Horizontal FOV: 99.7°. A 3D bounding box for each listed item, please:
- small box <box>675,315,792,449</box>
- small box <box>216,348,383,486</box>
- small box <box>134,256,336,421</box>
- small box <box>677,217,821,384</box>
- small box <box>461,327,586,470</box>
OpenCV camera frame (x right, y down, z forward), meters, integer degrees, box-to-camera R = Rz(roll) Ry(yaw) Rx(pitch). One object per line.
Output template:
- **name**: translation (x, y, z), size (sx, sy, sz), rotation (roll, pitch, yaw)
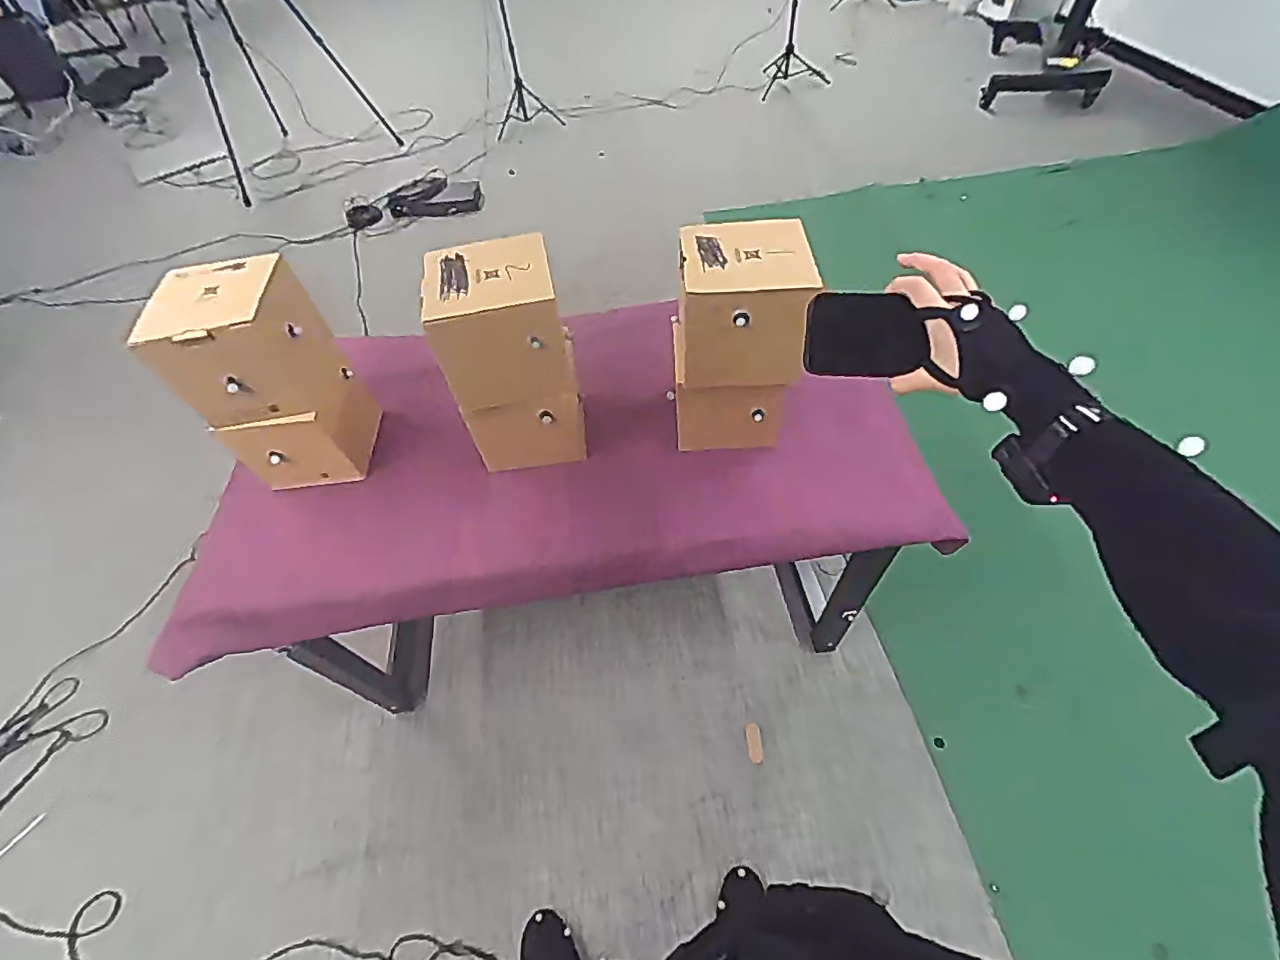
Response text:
- **small box**: translation (0.150, -0.168, 0.926), size (0.179, 0.176, 0.168), rotation (-3, 53, 5)
- **small box**: translation (-0.579, -0.102, 0.950), size (0.168, 0.176, 0.179), rotation (-7, 53, 1)
- **small box**: translation (-0.593, -0.206, 0.823), size (0.168, 0.176, 0.179), rotation (-11, 54, -3)
- **small box**: translation (0.147, -0.254, 0.786), size (0.179, 0.176, 0.168), rotation (-2, 53, 3)
- **small box**: translation (-0.189, -0.136, 0.934), size (0.179, 0.176, 0.168), rotation (-8, 53, 0)
